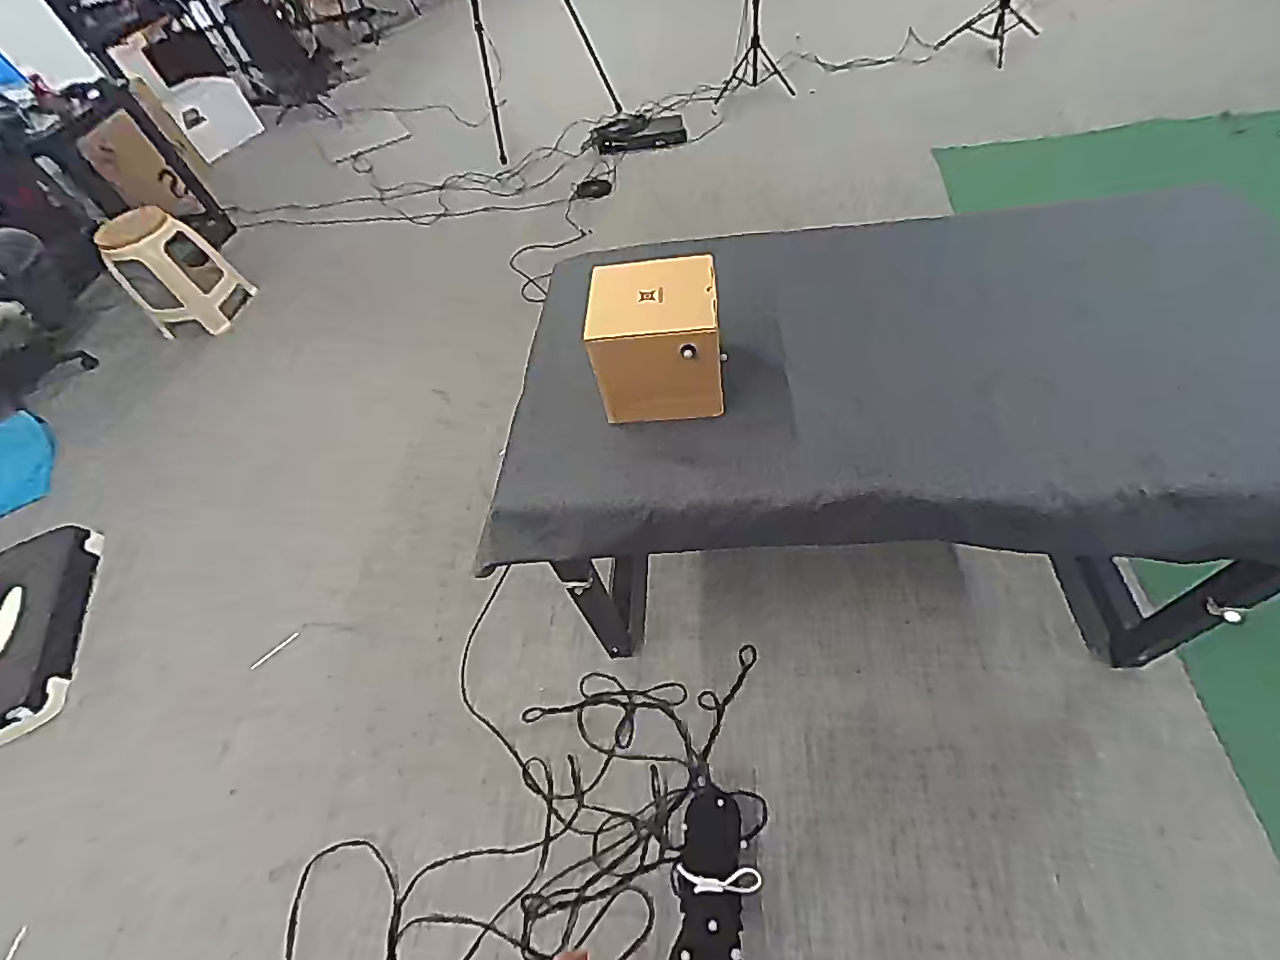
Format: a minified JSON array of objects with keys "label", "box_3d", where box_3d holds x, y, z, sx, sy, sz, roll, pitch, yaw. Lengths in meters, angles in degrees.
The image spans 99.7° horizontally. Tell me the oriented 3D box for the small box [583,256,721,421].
[{"label":"small box","box_3d":[0.026,-0.202,0.797,0.179,0.176,0.168,-3,54,8]}]
